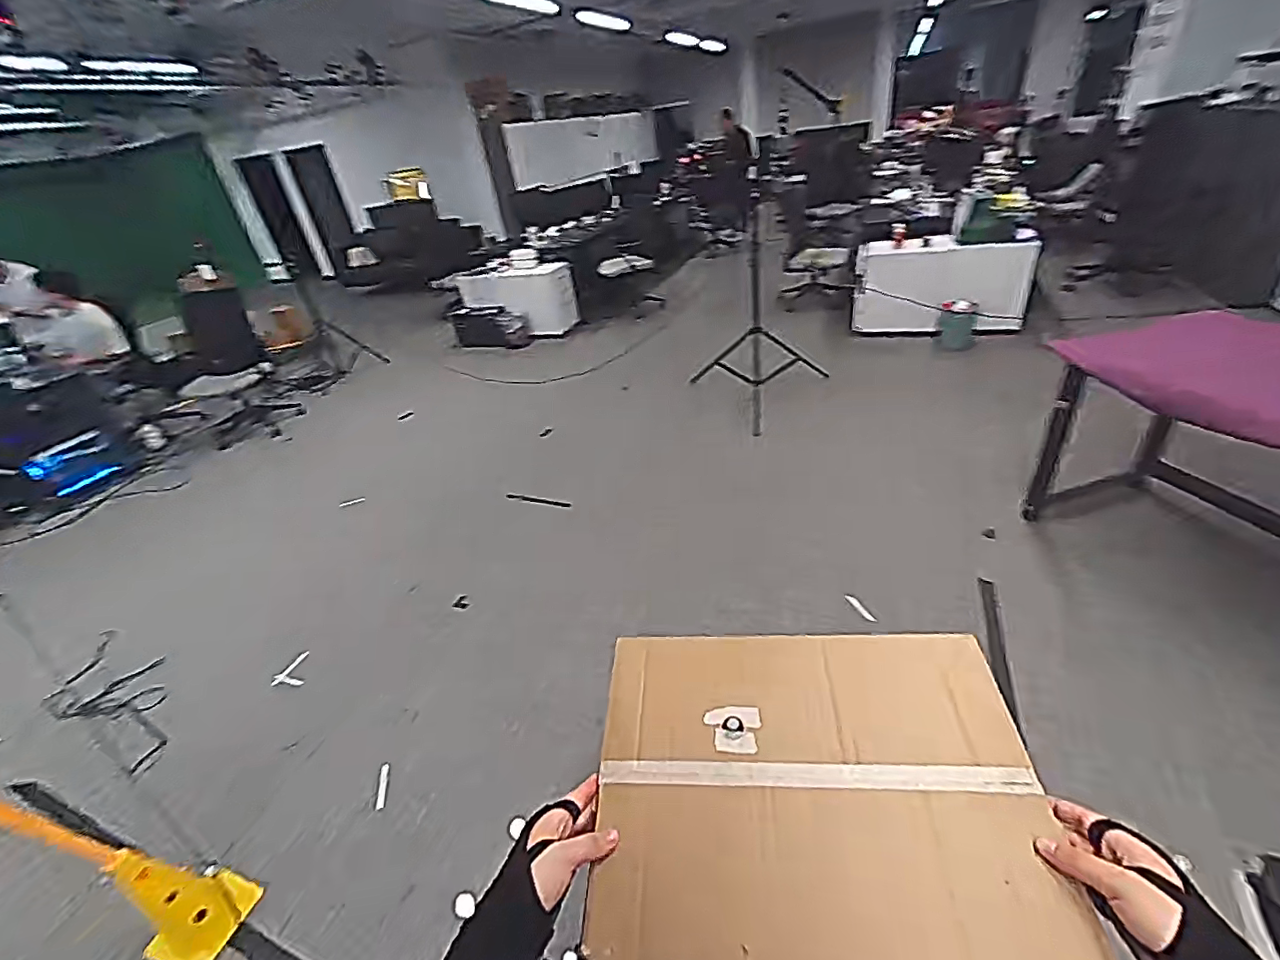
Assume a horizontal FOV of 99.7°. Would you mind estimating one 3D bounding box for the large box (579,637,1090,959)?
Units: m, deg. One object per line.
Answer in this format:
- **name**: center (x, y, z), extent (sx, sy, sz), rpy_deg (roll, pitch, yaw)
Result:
- **large box**: center (0.175, 0.407, 0.623), extent (0.408, 0.320, 0.320), rpy_deg (-4, 40, 8)
